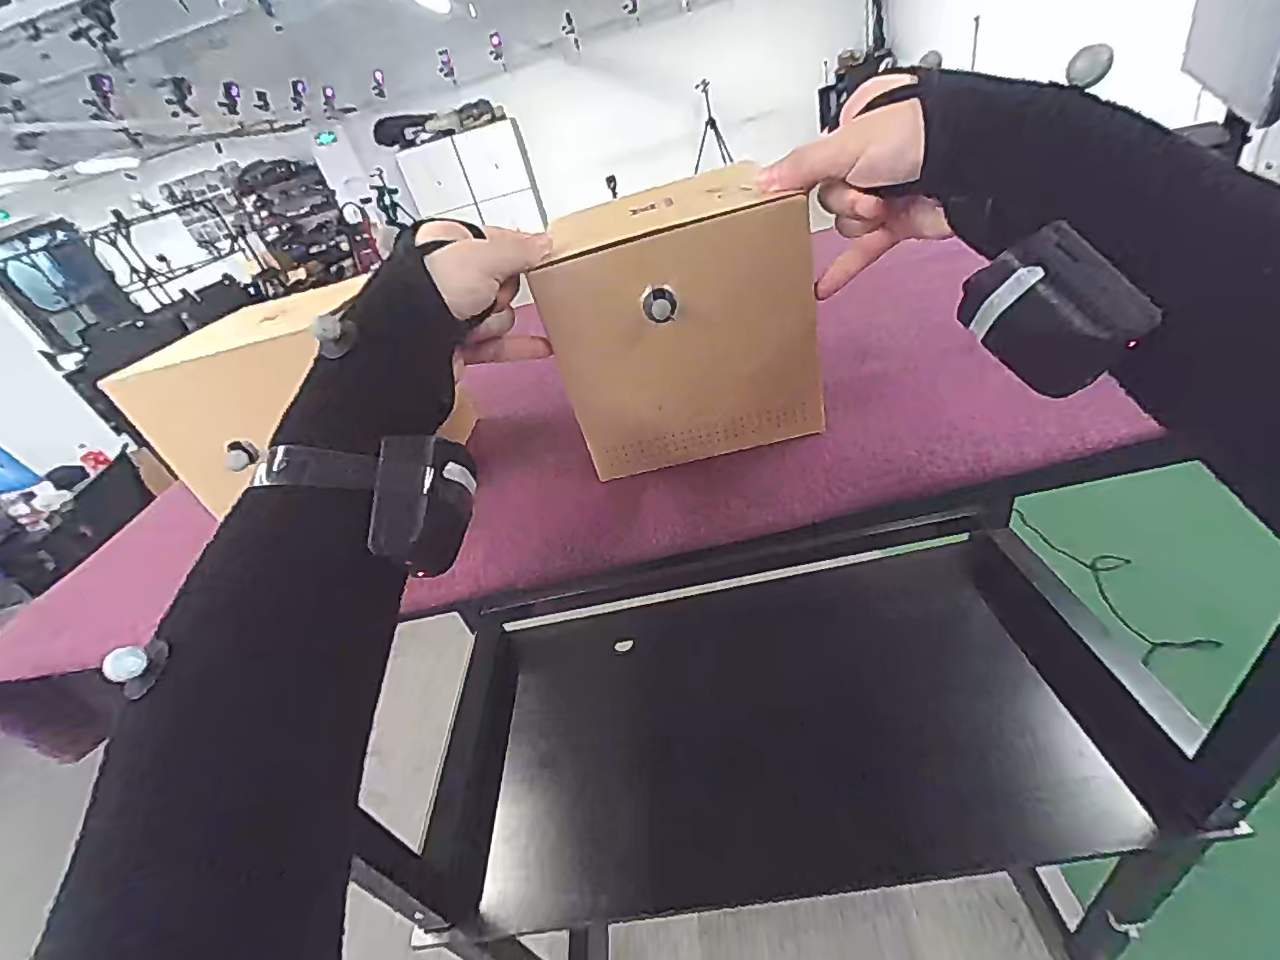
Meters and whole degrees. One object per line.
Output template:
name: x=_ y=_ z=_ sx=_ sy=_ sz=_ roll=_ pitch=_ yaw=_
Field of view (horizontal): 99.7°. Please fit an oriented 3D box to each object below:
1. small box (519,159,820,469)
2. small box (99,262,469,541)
small box: x=0.029 y=-0.128 z=0.425 sx=0.179 sy=0.176 sz=0.168 roll=-13 pitch=35 yaw=7
small box: x=-0.270 y=-0.064 z=0.468 sx=0.168 sy=0.176 sz=0.179 roll=-13 pitch=33 yaw=7
